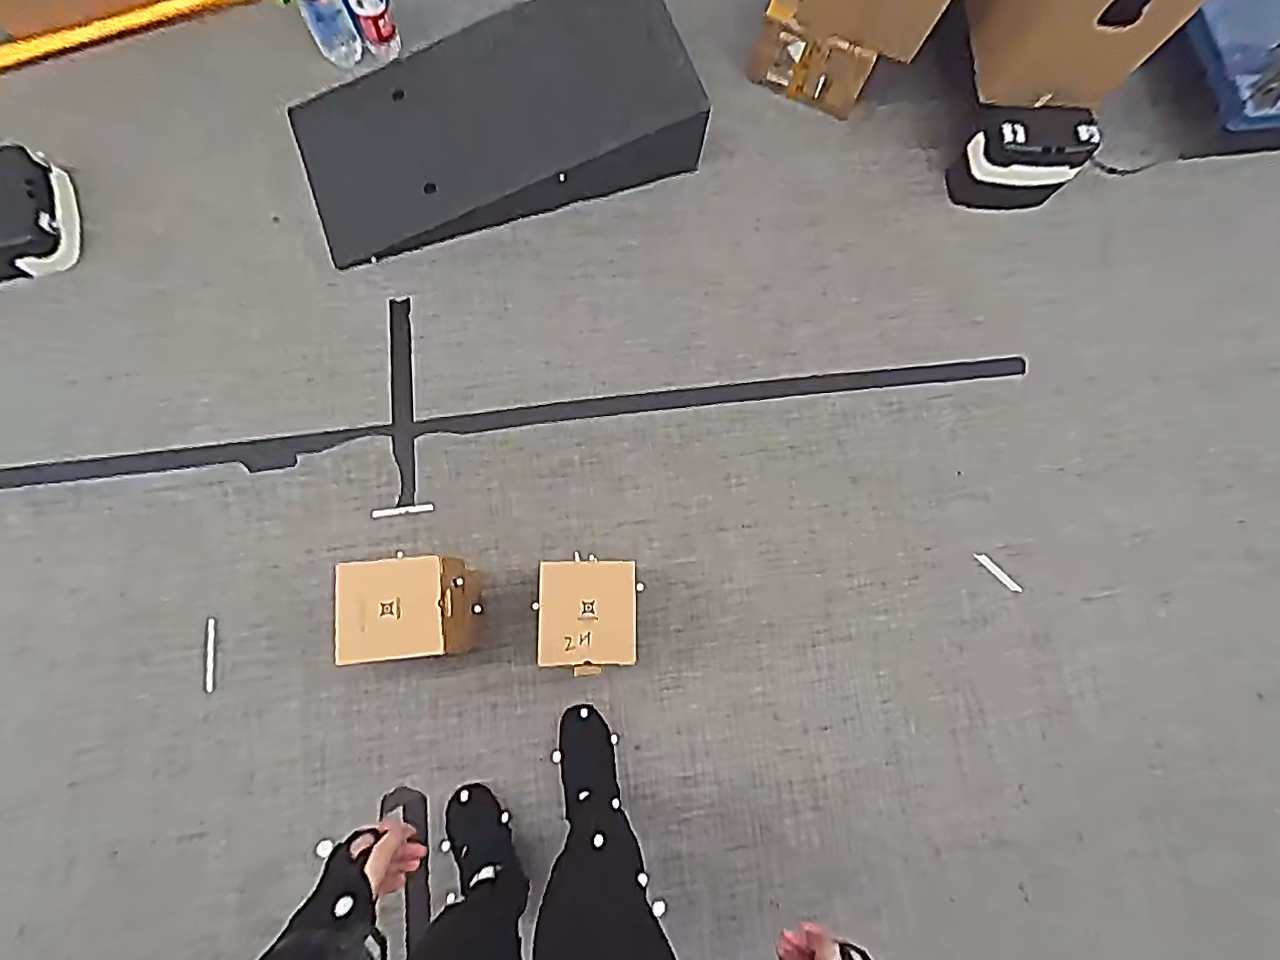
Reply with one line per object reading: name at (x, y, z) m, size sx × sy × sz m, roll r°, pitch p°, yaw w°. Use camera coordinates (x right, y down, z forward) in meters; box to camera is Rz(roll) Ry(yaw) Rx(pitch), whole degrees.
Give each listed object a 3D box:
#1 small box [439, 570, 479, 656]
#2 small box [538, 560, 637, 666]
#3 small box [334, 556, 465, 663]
small box at (-0.438, 0.271, 1.124) m, size 0.179 × 0.176 × 0.168 m, roll 0°, pitch 78°, yaw -5°
small box at (-0.094, 0.240, 0.989) m, size 0.168 × 0.176 × 0.179 m, roll 1°, pitch 79°, yaw -4°
small box at (-0.417, 0.226, 0.967) m, size 0.179 × 0.176 × 0.168 m, roll -4°, pitch 79°, yaw -4°
